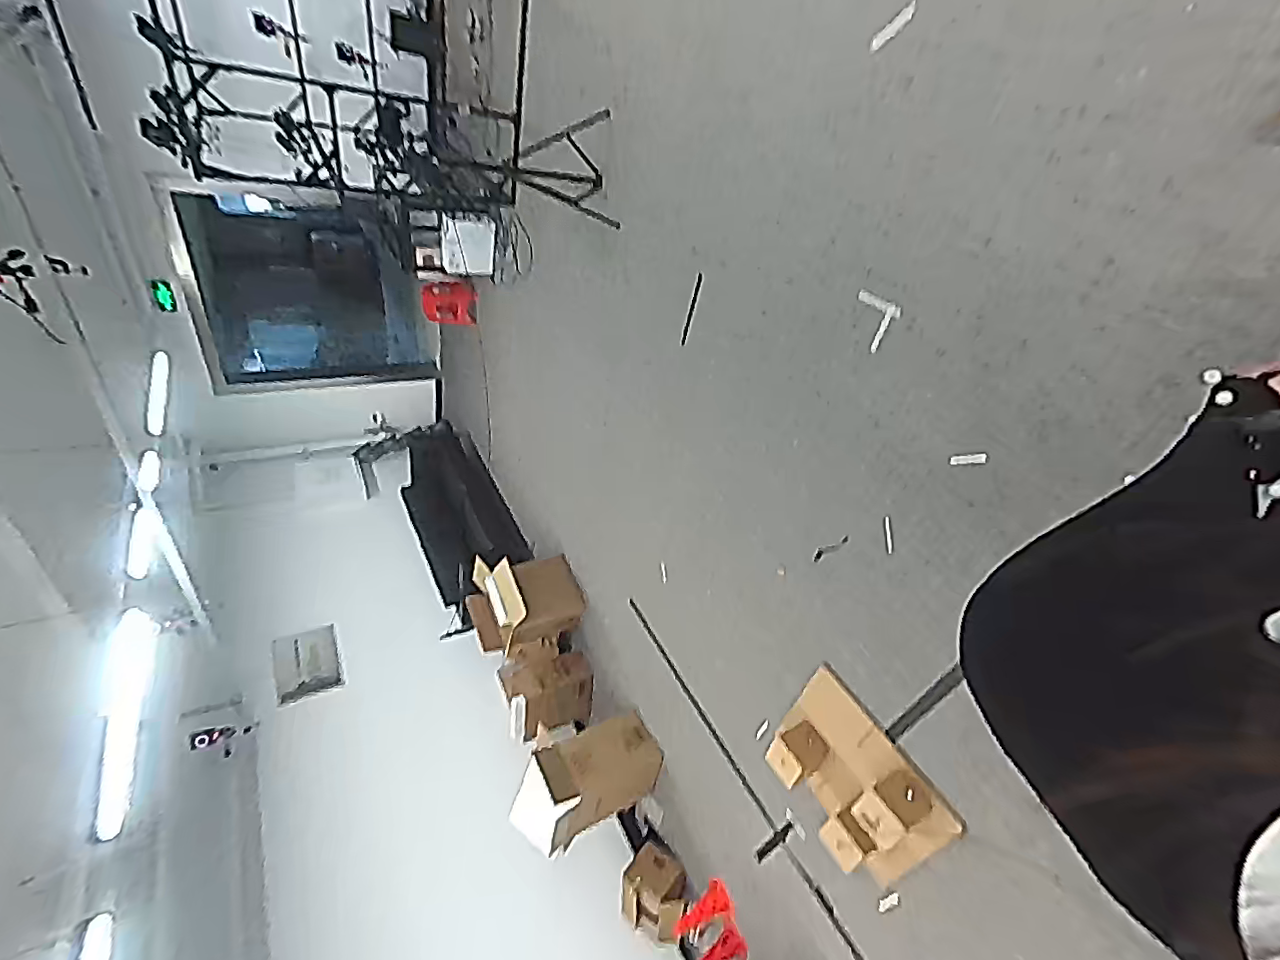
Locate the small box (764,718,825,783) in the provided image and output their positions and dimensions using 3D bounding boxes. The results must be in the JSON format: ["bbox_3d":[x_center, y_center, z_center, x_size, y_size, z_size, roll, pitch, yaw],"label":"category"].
[{"bbox_3d":[0.683,1.190,2.385,0.168,0.176,0.179,48,138,41],"label":"small box"}]

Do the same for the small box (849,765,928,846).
[{"bbox_3d":[0.915,1.193,1.989,0.168,0.176,0.179,49,138,39],"label":"small box"}]

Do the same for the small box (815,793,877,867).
[{"bbox_3d":[0.848,1.402,2.170,0.168,0.176,0.179,50,139,38],"label":"small box"}]
